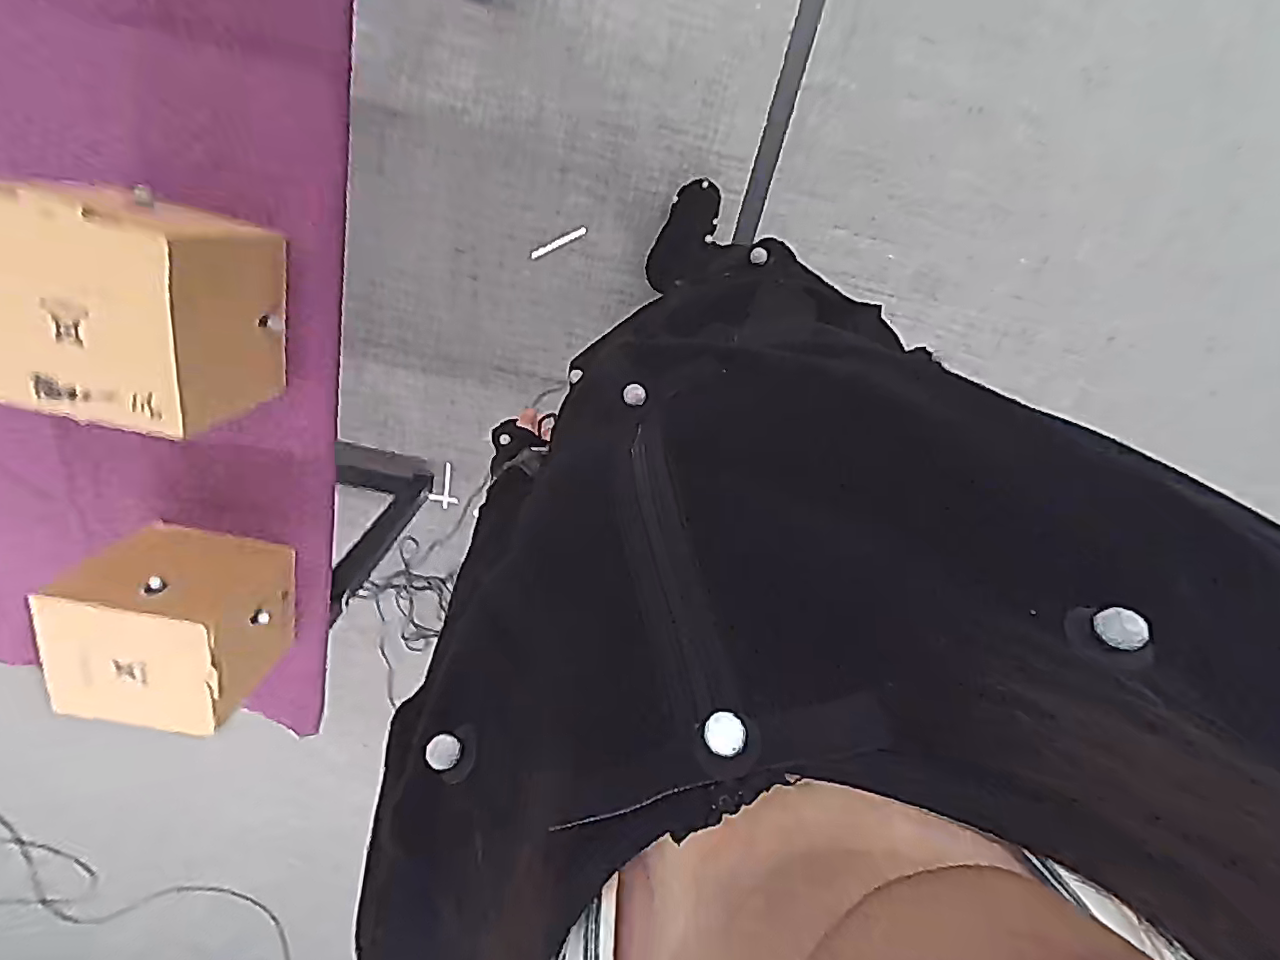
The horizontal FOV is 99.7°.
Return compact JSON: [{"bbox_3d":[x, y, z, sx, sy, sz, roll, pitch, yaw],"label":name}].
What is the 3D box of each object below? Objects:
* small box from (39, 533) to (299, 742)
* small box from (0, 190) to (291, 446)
[{"bbox_3d":[-0.550,0.184,0.663,0.179,0.176,0.168,13,112,-7],"label":"small box"},{"bbox_3d":[-0.460,-0.156,0.513,0.168,0.176,0.179,13,113,-8],"label":"small box"}]
